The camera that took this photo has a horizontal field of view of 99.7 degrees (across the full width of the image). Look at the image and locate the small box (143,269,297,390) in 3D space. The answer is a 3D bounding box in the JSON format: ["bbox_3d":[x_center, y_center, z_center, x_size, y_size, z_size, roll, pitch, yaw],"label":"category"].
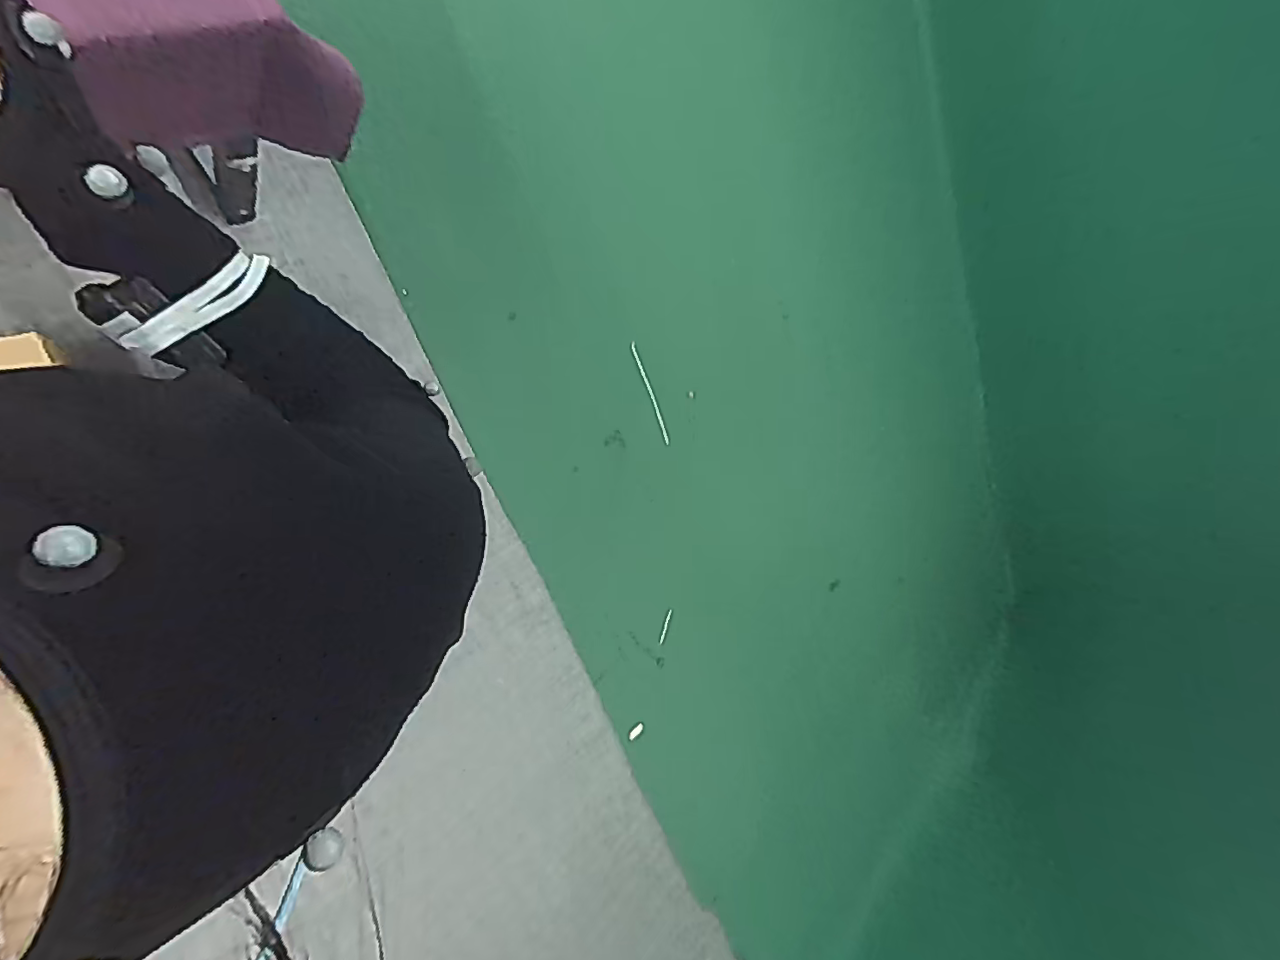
[{"bbox_3d":[-0.765,-0.270,0.998,0.168,0.176,0.179,-29,111,-34],"label":"small box"}]
